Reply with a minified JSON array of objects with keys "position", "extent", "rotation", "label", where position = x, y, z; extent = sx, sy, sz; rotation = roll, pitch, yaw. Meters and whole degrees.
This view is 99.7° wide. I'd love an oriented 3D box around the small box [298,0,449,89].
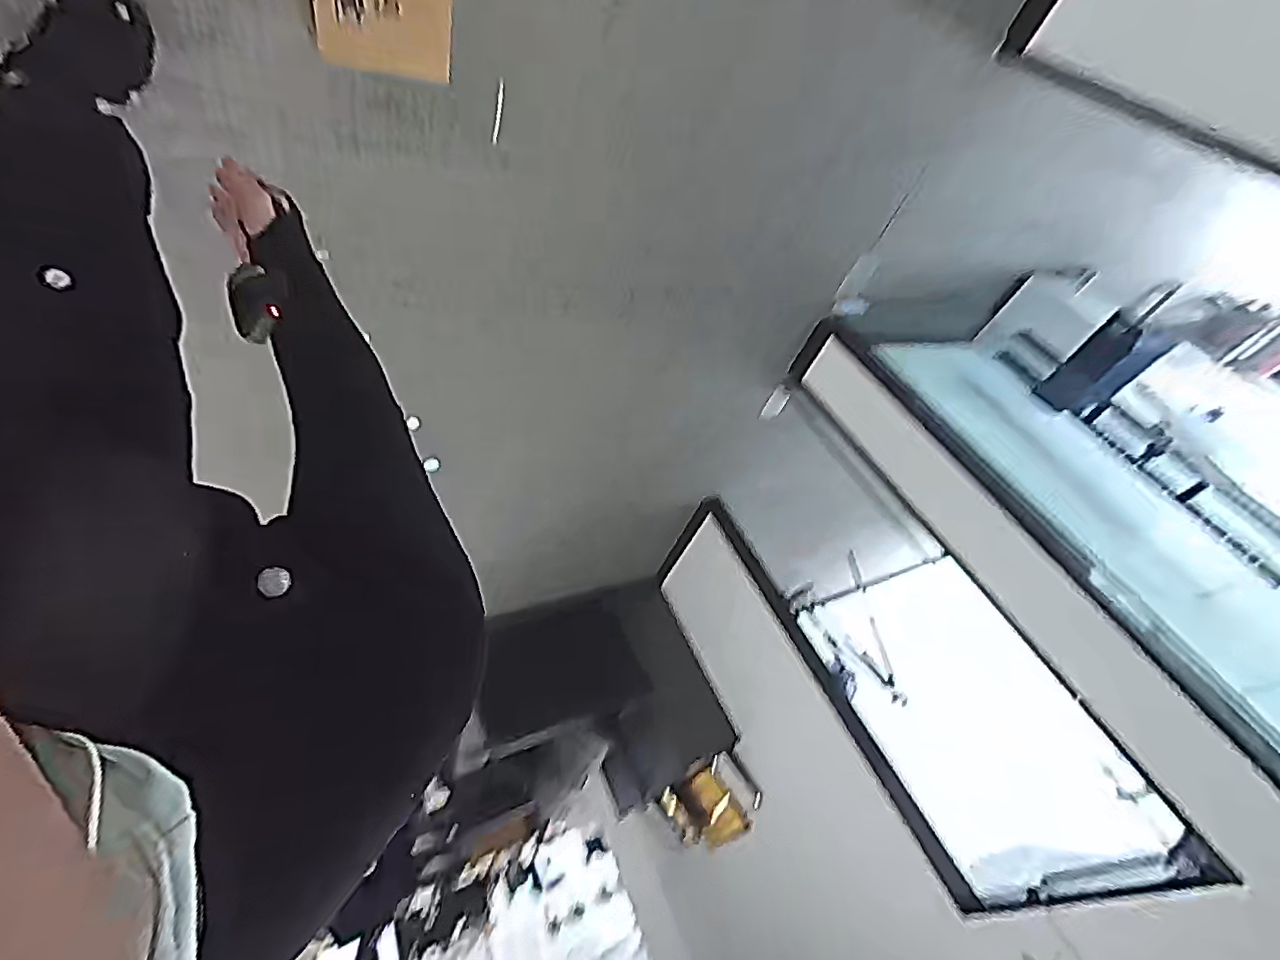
[{"position":[-0.381,-0.693,0.763],"extent":[0.179,0.176,0.168],"rotation":[-11,145,-31],"label":"small box"}]
